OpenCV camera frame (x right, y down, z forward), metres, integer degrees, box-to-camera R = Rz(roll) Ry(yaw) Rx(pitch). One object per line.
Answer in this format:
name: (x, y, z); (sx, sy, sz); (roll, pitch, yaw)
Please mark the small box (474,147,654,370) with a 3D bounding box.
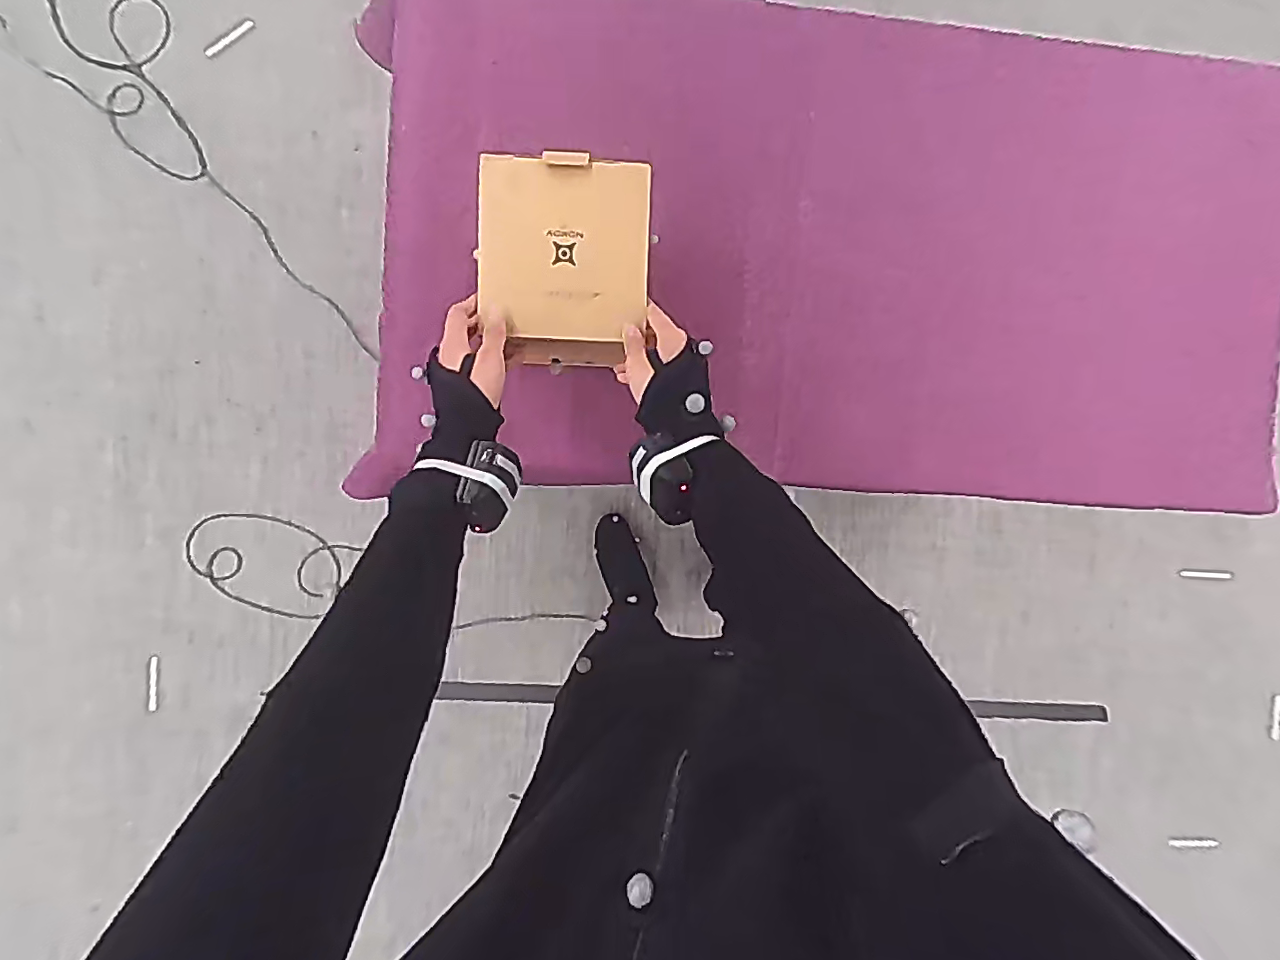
small box: (-0.078, -0.226, 0.595); (0.168, 0.176, 0.179); (2, 93, -4)
